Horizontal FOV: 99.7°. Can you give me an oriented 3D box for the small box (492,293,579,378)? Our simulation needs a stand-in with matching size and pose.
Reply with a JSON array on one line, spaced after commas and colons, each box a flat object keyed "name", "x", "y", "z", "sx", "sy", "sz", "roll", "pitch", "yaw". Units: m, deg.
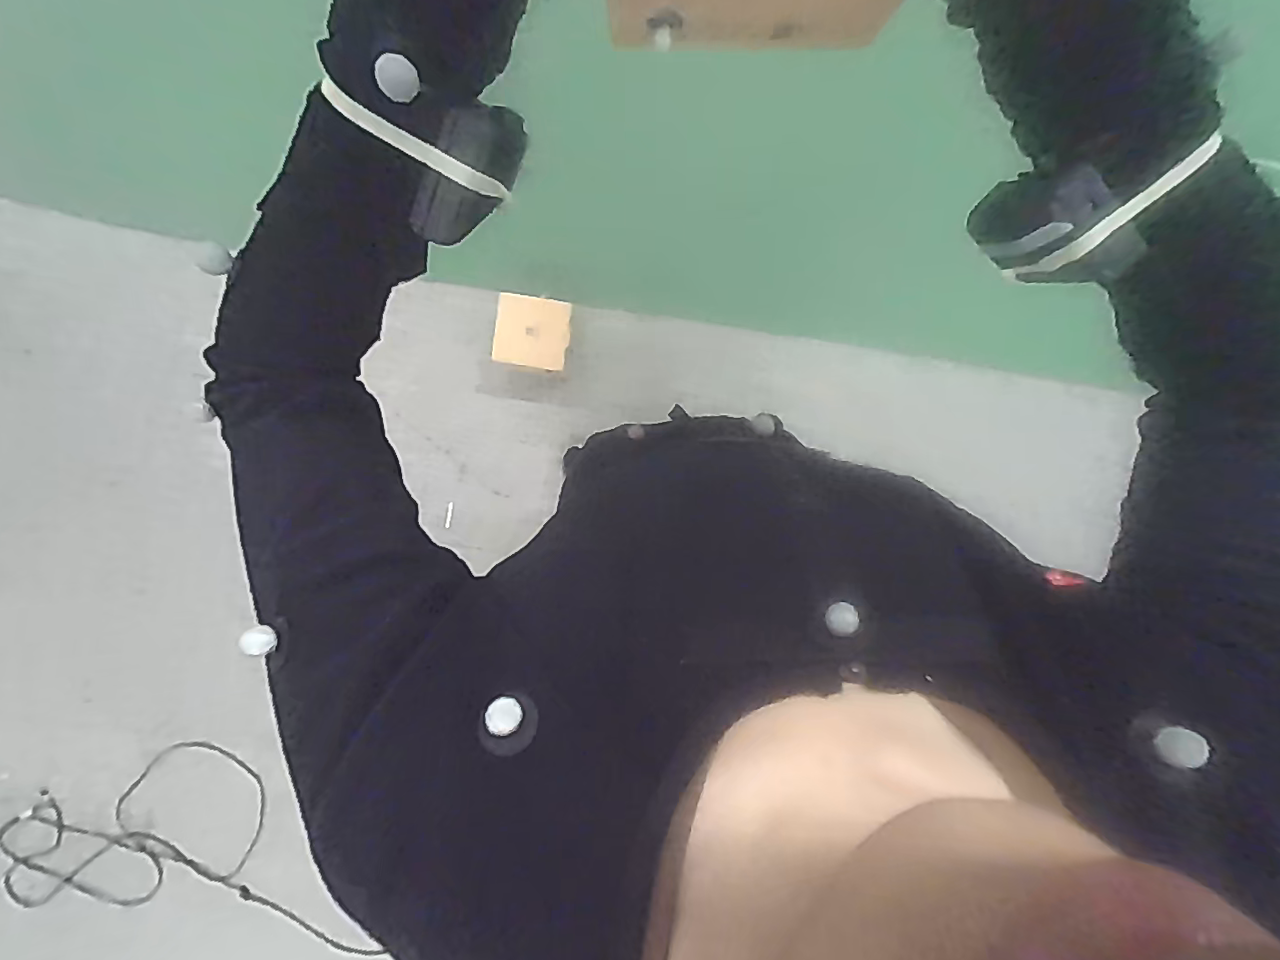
[{"name": "small box", "x": -0.257, "y": -0.354, "z": 1.358, "sx": 0.179, "sy": 0.176, "sz": 0.168, "roll": 8, "pitch": 94, "yaw": -3}]

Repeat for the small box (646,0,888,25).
[{"name": "small box", "x": 0.071, "y": -0.350, "z": 0.243, "sx": 0.168, "sy": 0.176, "sz": 0.179, "roll": -1, "pitch": 100, "yaw": -2}]
